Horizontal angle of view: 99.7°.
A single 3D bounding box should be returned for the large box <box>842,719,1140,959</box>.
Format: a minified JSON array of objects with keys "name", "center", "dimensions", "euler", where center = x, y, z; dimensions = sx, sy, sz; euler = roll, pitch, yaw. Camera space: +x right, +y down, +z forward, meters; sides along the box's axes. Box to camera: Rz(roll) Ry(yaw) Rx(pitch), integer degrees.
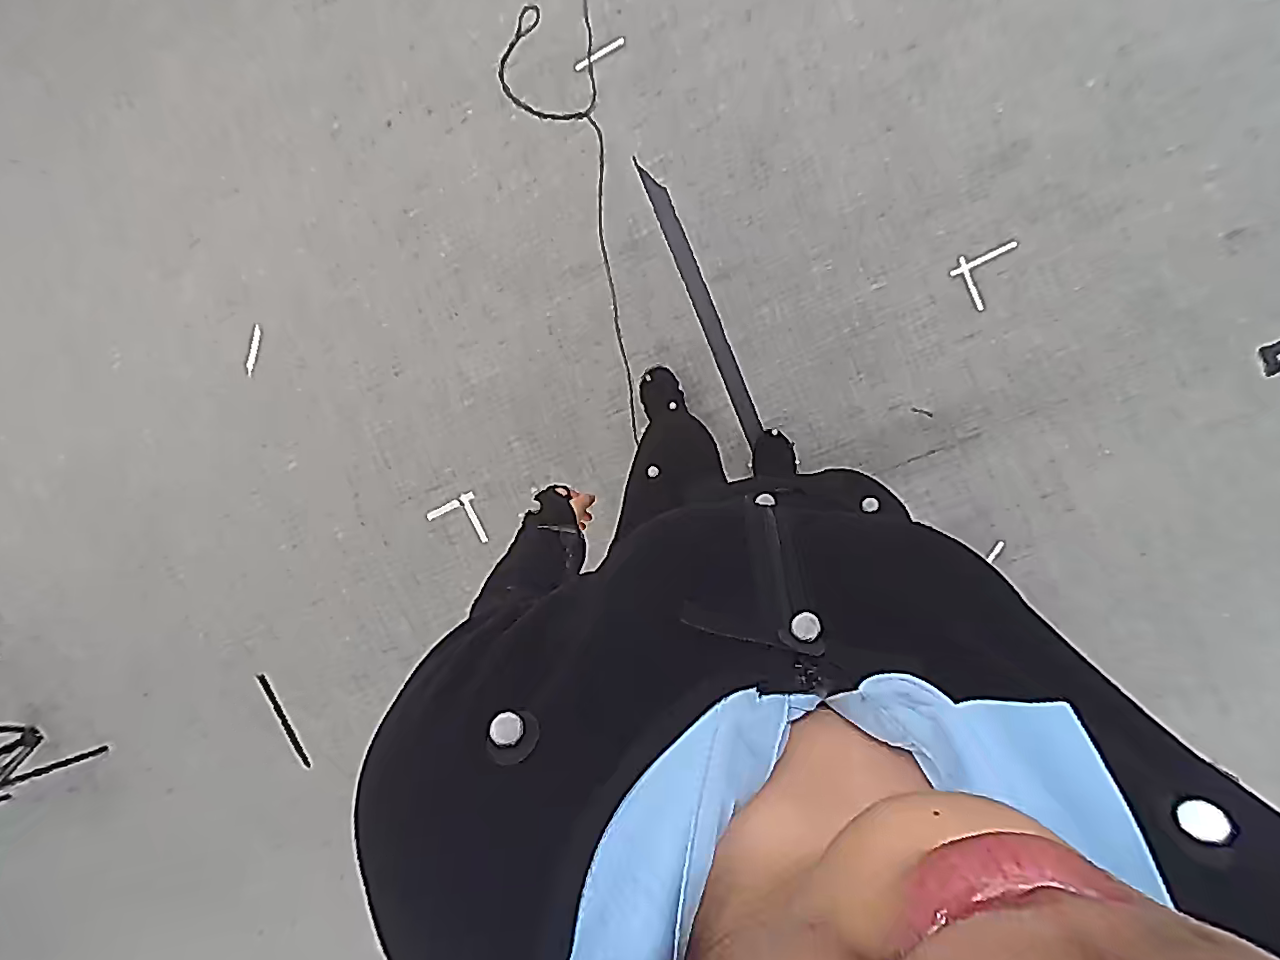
[{"name":"large box","center":[0.701,0.770,1.155],"dimensions":[0.408,0.320,0.320],"euler":[-18,95,12]}]
